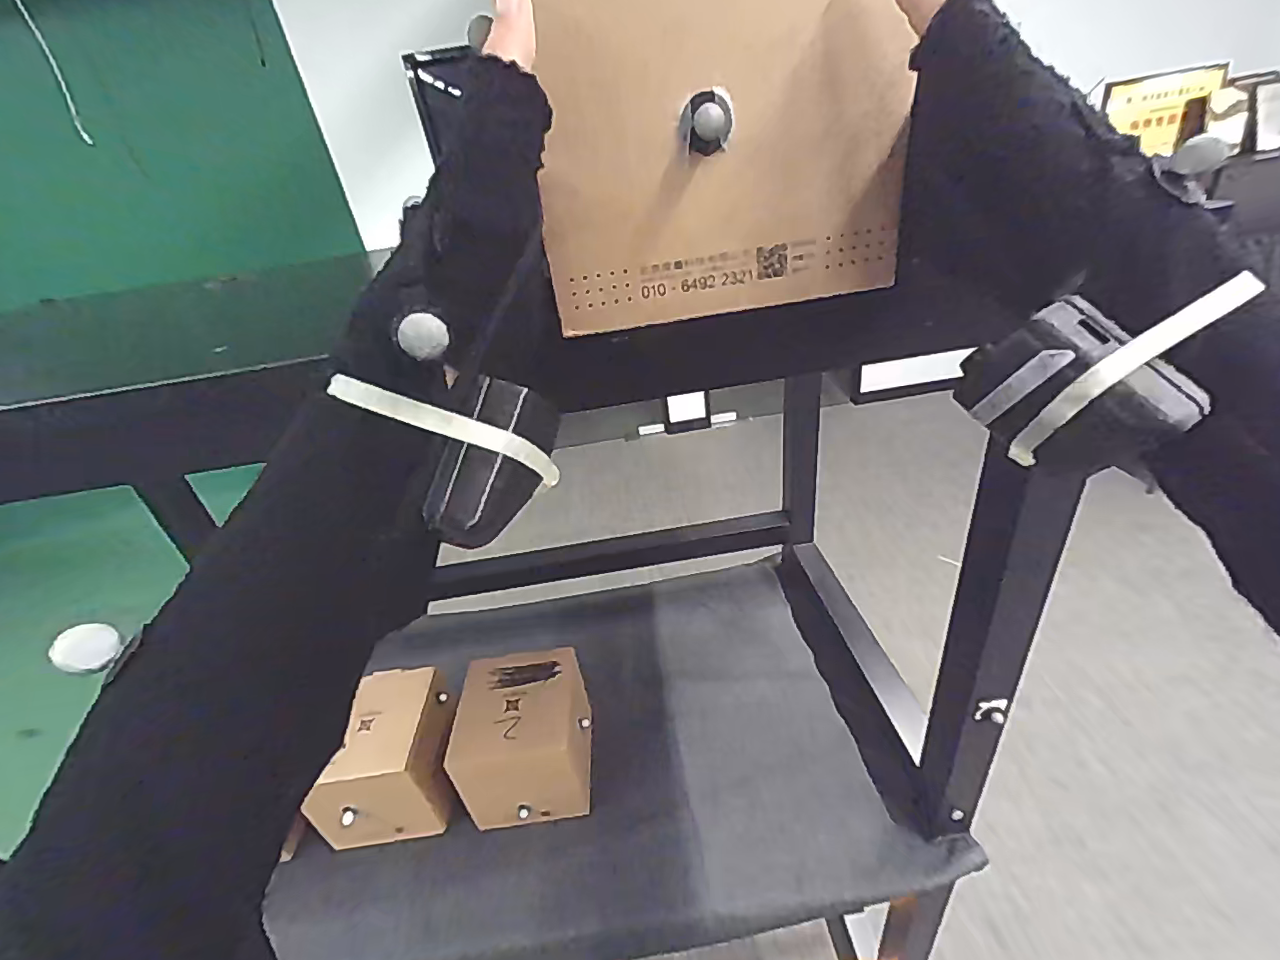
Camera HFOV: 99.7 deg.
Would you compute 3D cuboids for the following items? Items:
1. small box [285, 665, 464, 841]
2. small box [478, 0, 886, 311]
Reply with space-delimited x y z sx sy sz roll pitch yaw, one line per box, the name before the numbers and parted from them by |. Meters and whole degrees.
small box | -0.383 0.416 0.821 0.168 0.176 0.179 -9 30 0
small box | 0.021 -0.198 0.296 0.168 0.176 0.179 -8 30 1
